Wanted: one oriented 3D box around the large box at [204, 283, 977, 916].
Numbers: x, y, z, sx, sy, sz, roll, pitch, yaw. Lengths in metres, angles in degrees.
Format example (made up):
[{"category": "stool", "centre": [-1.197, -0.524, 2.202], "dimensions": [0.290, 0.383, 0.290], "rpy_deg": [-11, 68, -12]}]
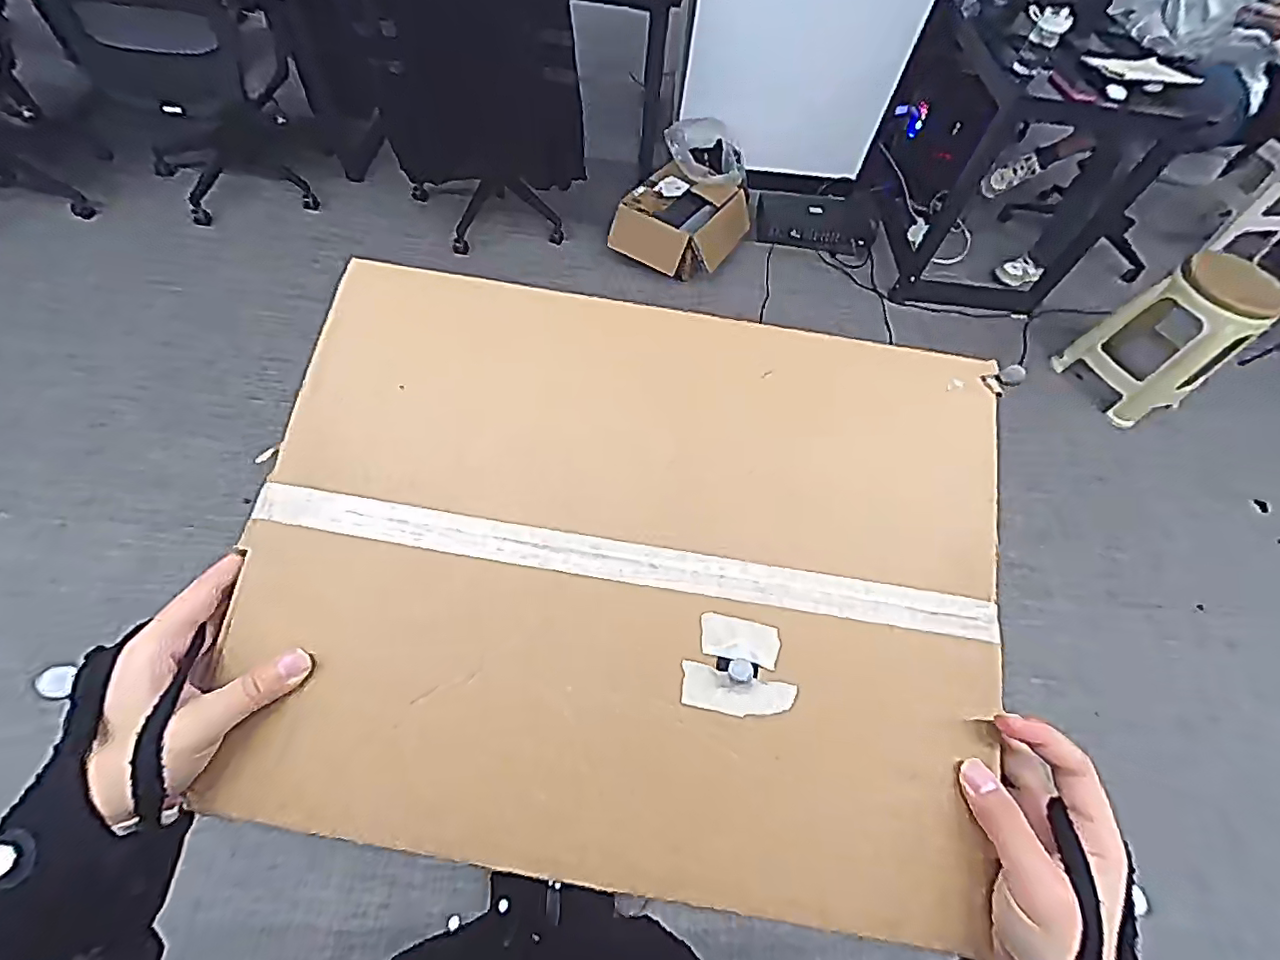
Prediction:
[{"category": "large box", "centre": [-0.012, 0.082, 0.455], "dimensions": [0.408, 0.320, 0.320], "rpy_deg": [10, 76, 1]}]
